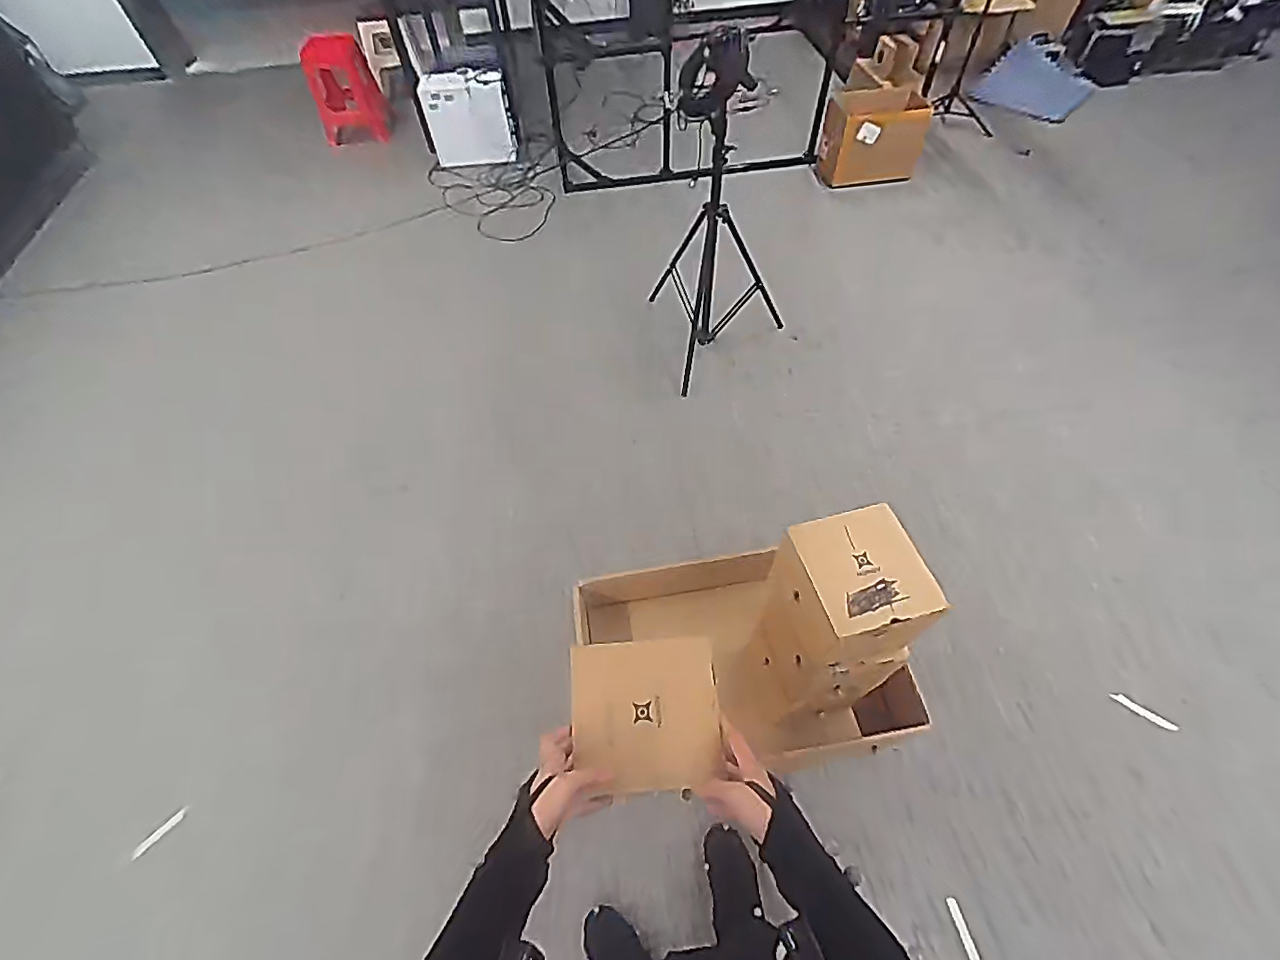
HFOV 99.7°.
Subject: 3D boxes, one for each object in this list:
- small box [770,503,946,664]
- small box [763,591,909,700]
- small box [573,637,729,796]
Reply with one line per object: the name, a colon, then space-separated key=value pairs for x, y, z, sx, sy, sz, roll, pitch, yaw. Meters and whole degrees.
small box: x=0.313 y=0.165 z=0.821 sx=0.168 sy=0.176 sz=0.179 roll=-13 pitch=56 yaw=-7
small box: x=0.328 y=0.266 z=0.950 sx=0.168 sy=0.176 sz=0.179 roll=-11 pitch=56 yaw=-5
small box: x=0.007 y=0.307 z=0.703 sx=0.179 sy=0.176 sz=0.168 roll=-3 pitch=62 yaw=-2
